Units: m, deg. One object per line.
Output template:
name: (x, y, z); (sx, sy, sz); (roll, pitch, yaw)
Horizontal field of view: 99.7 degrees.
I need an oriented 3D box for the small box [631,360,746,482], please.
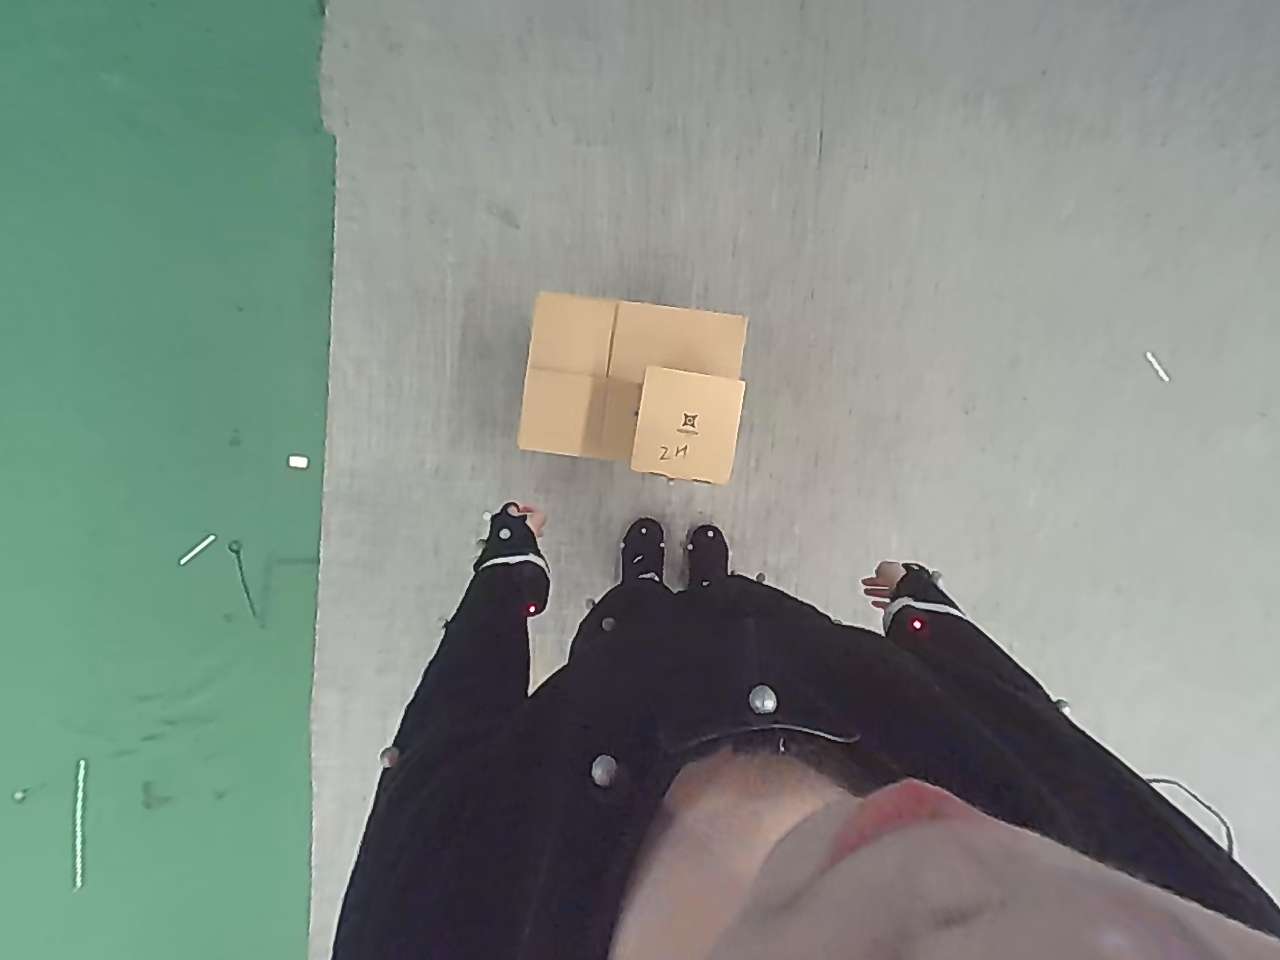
small box: (0.077, -0.096, 0.953); (0.168, 0.176, 0.179); (10, 90, -1)
